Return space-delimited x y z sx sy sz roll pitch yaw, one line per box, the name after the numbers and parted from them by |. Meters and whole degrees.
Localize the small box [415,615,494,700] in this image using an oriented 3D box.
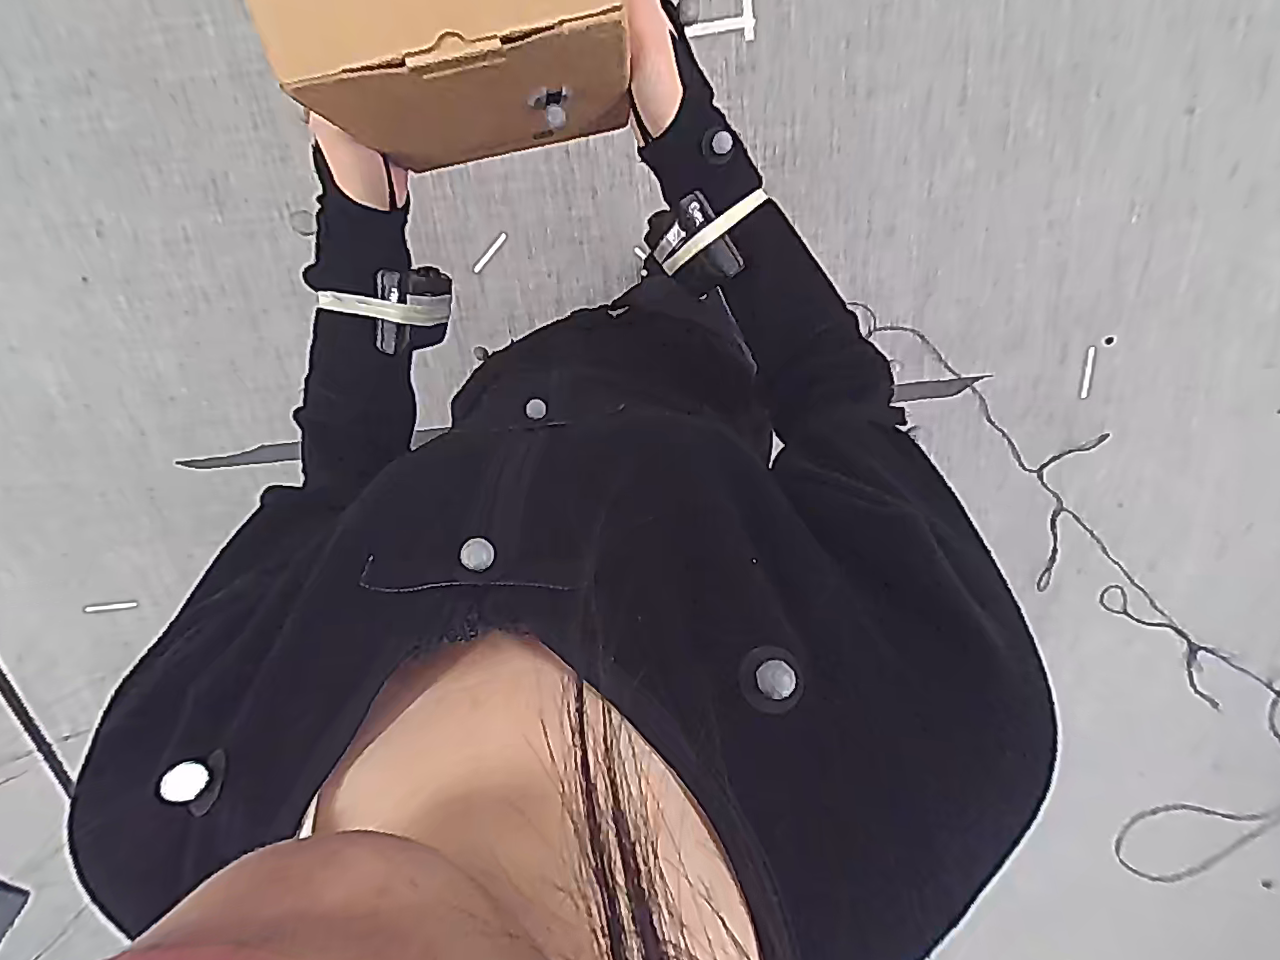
-0.545 0.518 1.601 0.179 0.176 0.168 9 108 -6 | small box
